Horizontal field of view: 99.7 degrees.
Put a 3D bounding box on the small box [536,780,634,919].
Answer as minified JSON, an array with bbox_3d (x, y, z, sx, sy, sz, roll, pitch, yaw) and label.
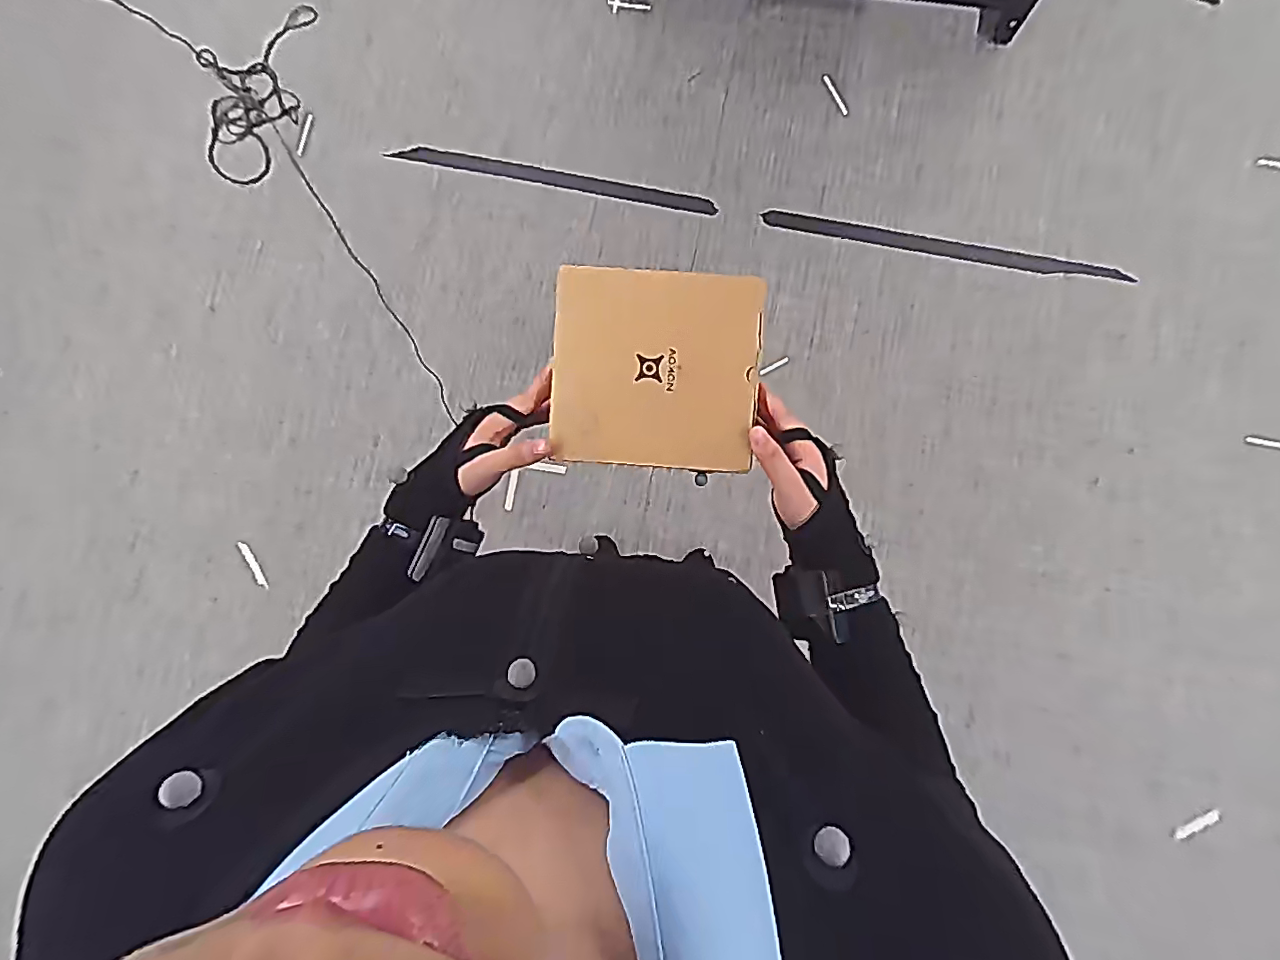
[{"bbox_3d":[-0.112,0.805,1.200,0.168,0.176,0.179,15,86,4],"label":"small box"}]

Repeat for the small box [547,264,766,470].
[{"bbox_3d":[0.015,-0.097,0.531,0.179,0.176,0.168,4,93,1],"label":"small box"}]
